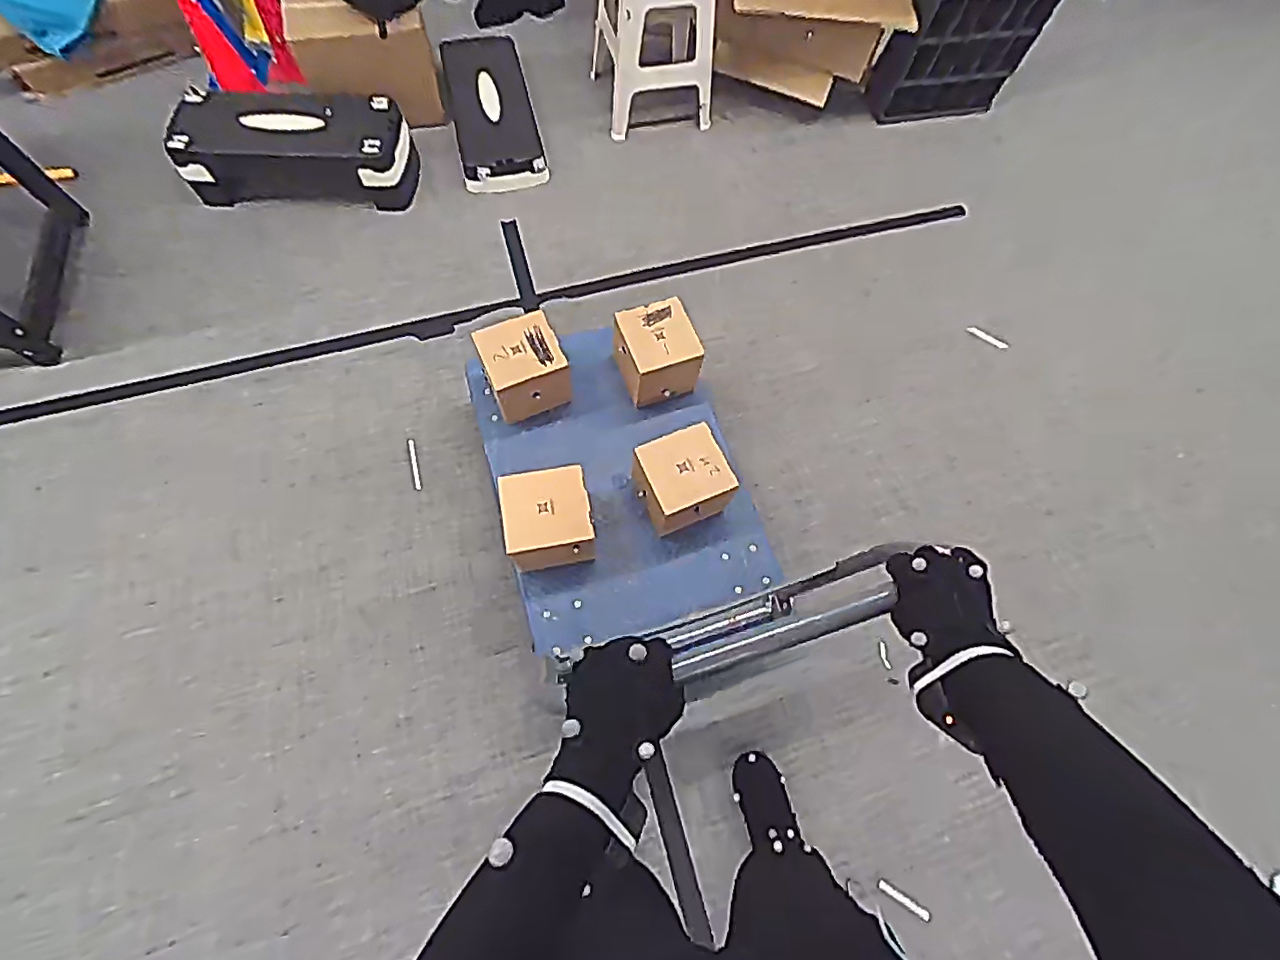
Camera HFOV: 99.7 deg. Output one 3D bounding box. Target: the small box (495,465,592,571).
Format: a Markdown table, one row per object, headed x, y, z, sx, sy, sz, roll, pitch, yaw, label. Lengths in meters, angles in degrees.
| x | y | z | sx | sy | sz | roll | pitch | yaw | label |
| --- | --- | --- | --- | --- | --- | --- | --- | --- | --- |
| -0.200 | 0.088 | 1.155 | 0.179 | 0.176 | 0.168 | -10 | 69 | -9 | small box |

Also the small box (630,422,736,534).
| x | y | z | sx | sy | sz | roll | pitch | yaw | label |
| --- | --- | --- | --- | --- | --- | --- | --- | --- | --- |
| 0.088 | 0.003 | 1.207 | 0.179 | 0.176 | 0.168 | -22 | 72 | -12 | small box |

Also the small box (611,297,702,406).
| x | y | z | sx | sy | sz | roll | pitch | yaw | label |
| --- | --- | --- | --- | --- | --- | --- | --- | --- | --- |
| 0.032 | -0.310 | 1.326 | 0.168 | 0.176 | 0.179 | -19 | 72 | -11 | small box |
